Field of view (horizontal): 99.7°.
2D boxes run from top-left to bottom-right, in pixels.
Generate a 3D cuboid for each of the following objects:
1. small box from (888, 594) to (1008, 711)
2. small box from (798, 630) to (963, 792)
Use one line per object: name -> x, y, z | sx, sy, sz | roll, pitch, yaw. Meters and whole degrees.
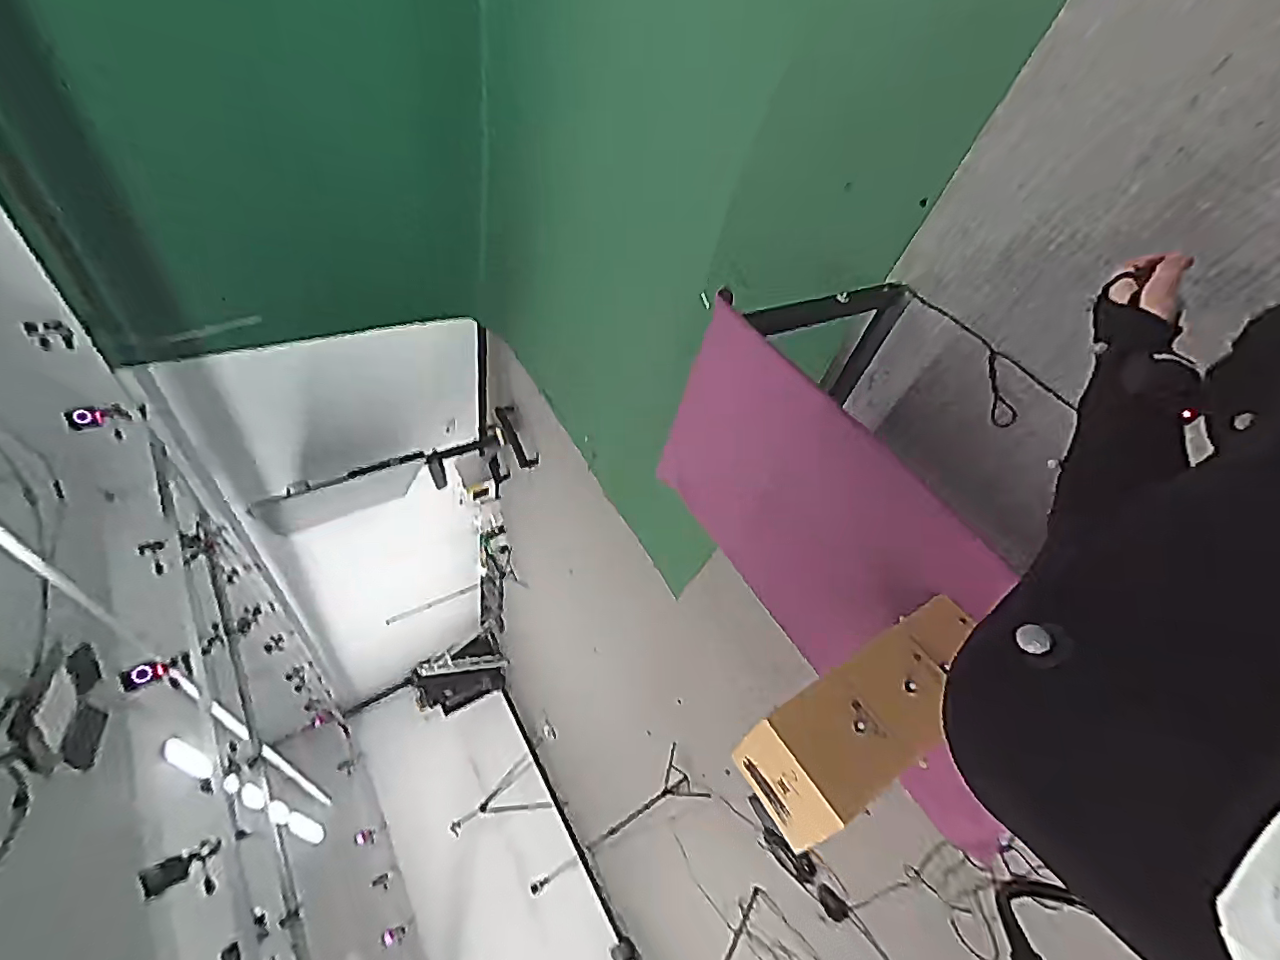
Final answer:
small box -> 0.545, 0.350, 1.022 | 0.168, 0.176, 0.179 | 49, 145, 31
small box -> 0.413, 0.389, 0.929 | 0.168, 0.176, 0.179 | 51, 146, 31
